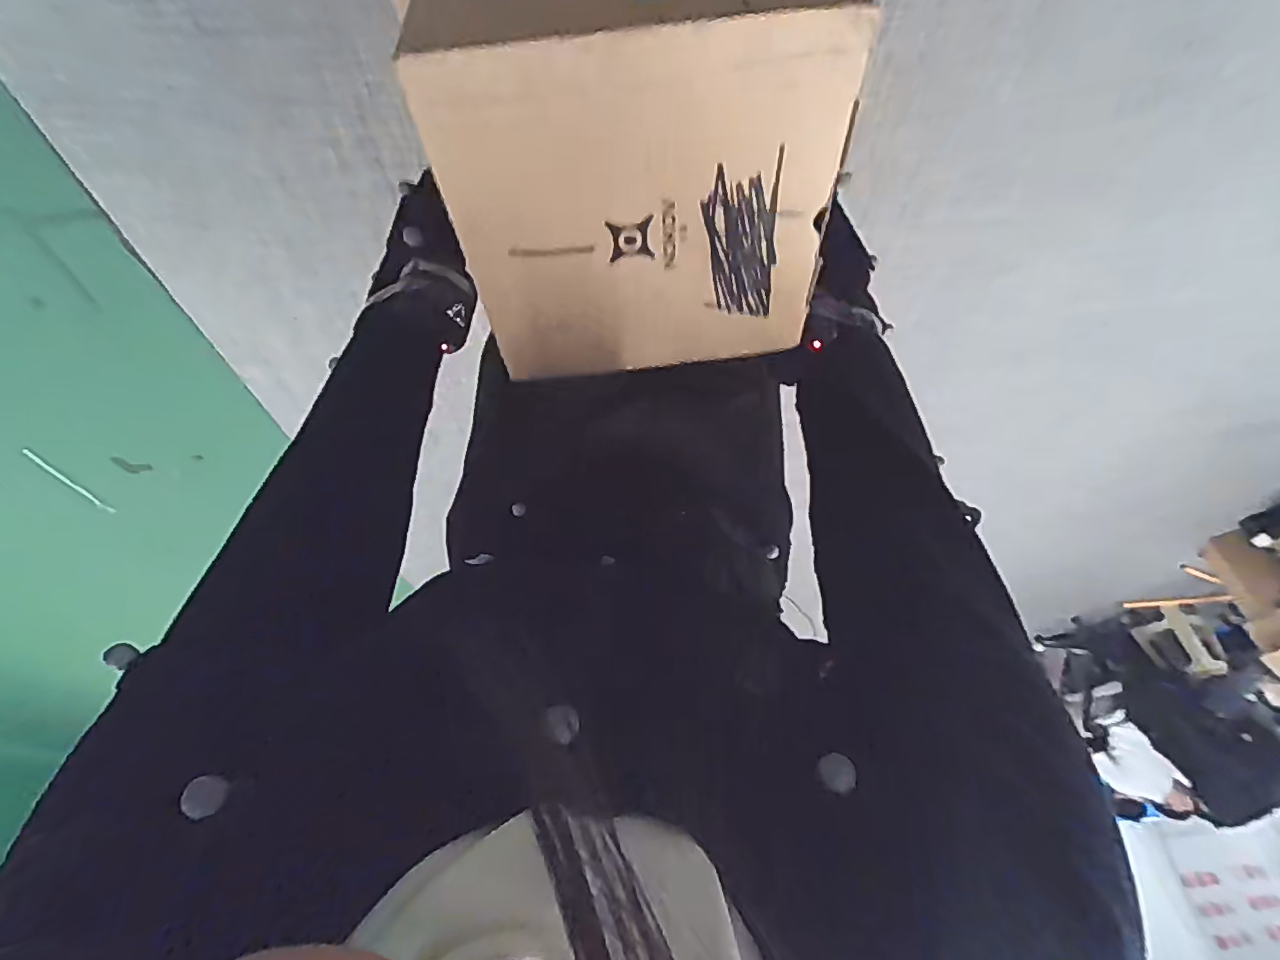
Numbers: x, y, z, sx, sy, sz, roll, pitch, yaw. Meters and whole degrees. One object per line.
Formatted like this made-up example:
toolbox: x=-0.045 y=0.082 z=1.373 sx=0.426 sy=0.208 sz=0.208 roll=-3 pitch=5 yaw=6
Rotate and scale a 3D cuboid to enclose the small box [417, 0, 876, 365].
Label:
small box: x=-0.001 y=-0.190 z=0.307 sx=0.179 sy=0.176 sz=0.168 roll=-5 pitch=147 yaw=1
